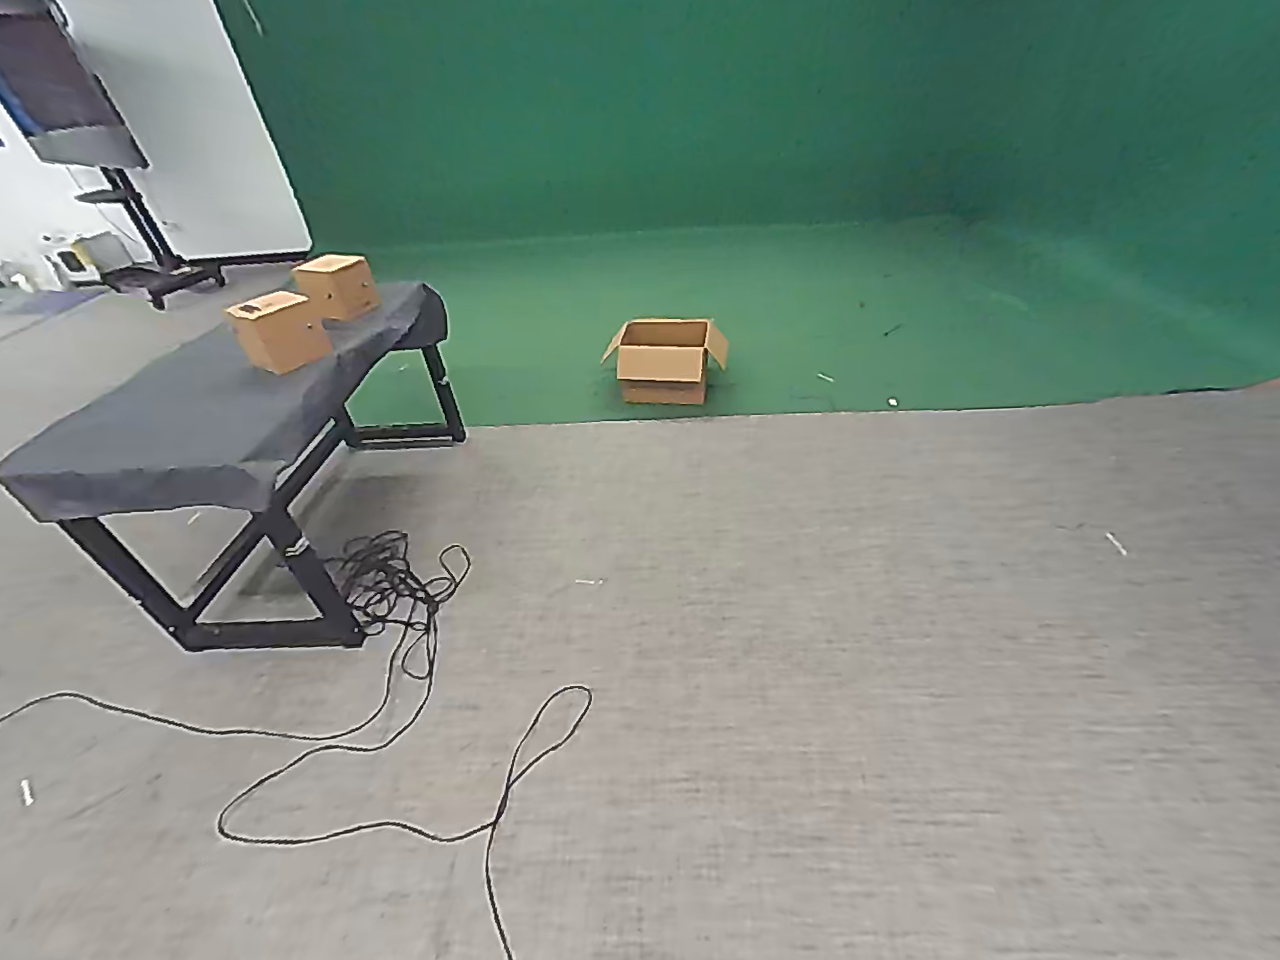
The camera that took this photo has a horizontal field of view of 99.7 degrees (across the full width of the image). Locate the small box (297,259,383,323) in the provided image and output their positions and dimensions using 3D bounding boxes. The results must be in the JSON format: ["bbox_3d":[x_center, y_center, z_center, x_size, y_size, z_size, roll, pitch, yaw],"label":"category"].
[{"bbox_3d":[-1.043,-0.662,1.898,0.179,0.176,0.168,9,39,19],"label":"small box"}]
